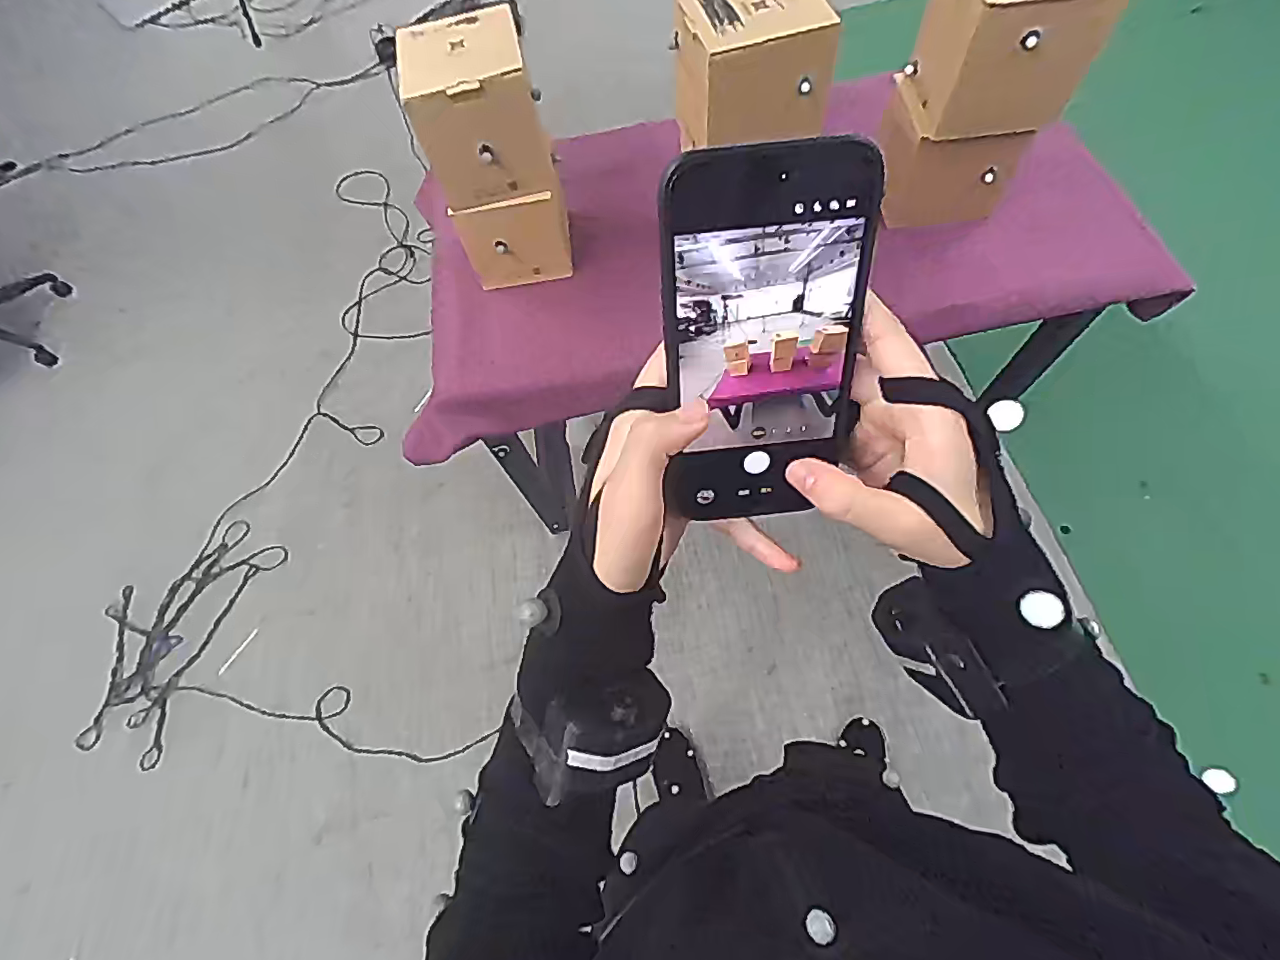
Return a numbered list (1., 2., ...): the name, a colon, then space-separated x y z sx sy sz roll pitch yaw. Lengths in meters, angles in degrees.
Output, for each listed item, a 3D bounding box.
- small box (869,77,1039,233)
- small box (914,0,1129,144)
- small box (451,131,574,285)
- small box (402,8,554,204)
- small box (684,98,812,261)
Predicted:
1. small box: 0.510 -0.544 0.908 0.179 0.176 0.168 -3 64 5
2. small box: 0.506 -0.600 0.754 0.179 0.176 0.168 -3 65 4
3. small box: -0.215 -0.463 0.946 0.168 0.176 0.179 -8 65 2
4. small box: -0.232 -0.539 0.802 0.168 0.176 0.179 -13 65 -1
5. small box: 0.173 -0.505 0.924 0.179 0.176 0.168 -9 64 2
